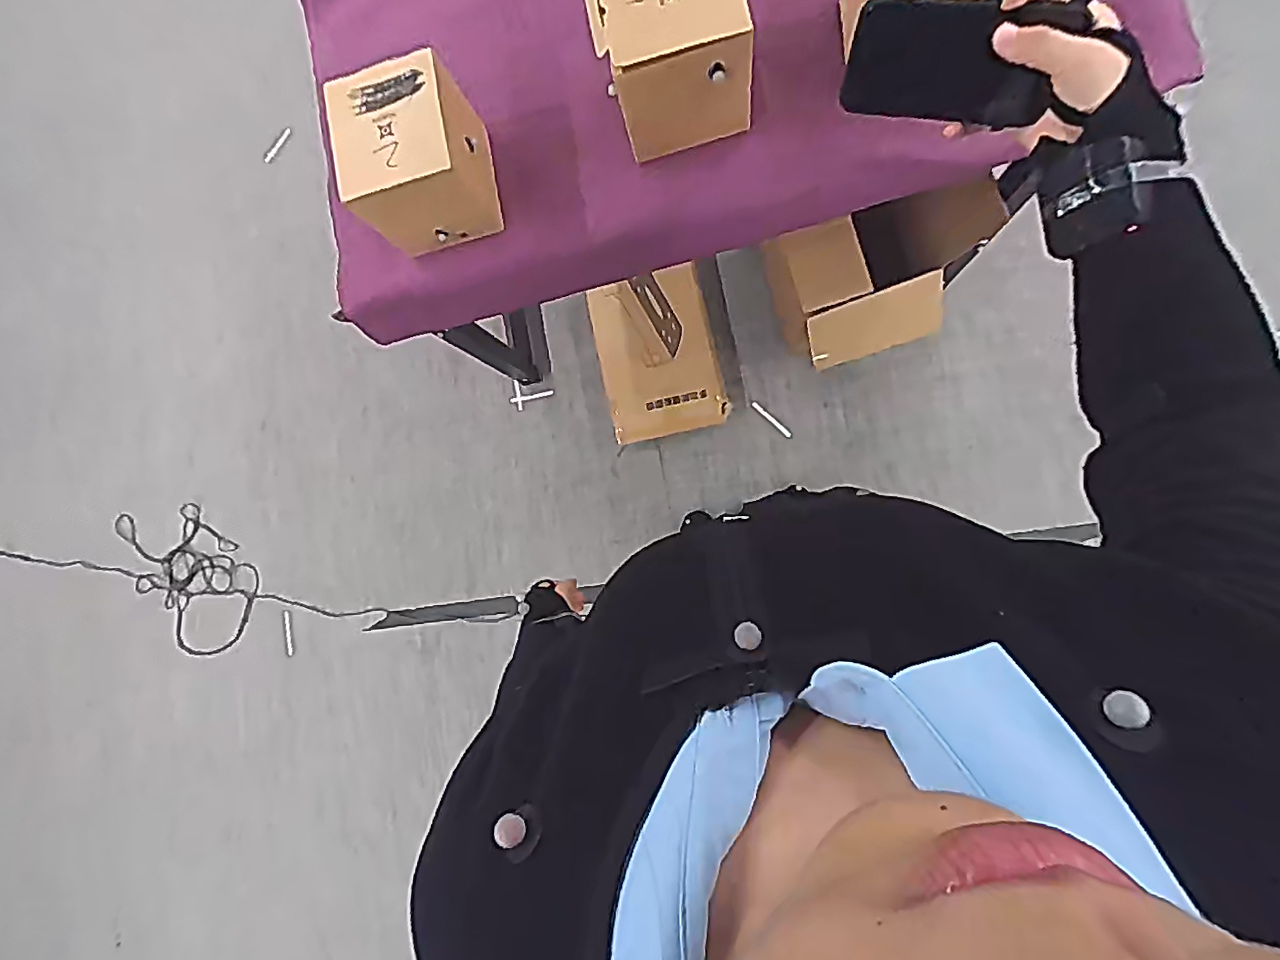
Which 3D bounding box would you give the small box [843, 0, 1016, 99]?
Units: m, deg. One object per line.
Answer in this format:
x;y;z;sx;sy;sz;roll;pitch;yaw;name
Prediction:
0.361;-0.624;0.681;0.179;0.176;0.168;-5;87;9;small box

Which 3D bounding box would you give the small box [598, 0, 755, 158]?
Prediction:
0.050;-0.582;0.732;0.179;0.176;0.168;-12;83;9;small box
